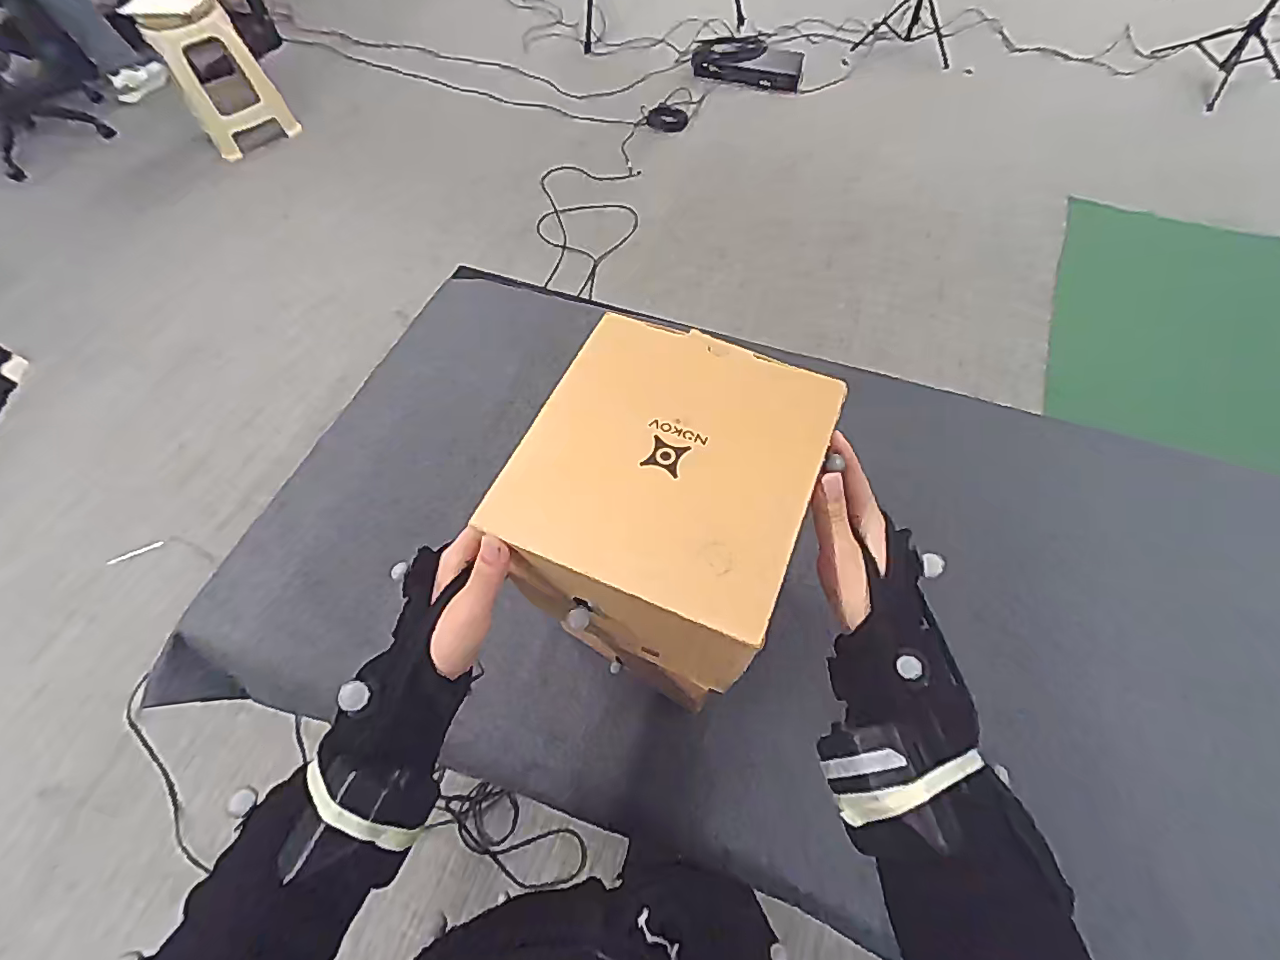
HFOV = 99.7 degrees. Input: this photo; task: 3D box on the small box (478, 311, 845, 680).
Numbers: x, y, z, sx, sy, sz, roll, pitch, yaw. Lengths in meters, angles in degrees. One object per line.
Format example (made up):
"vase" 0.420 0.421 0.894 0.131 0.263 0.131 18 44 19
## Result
"small box" 0.022 0.020 0.382 0.168 0.176 0.179 20 63 13
